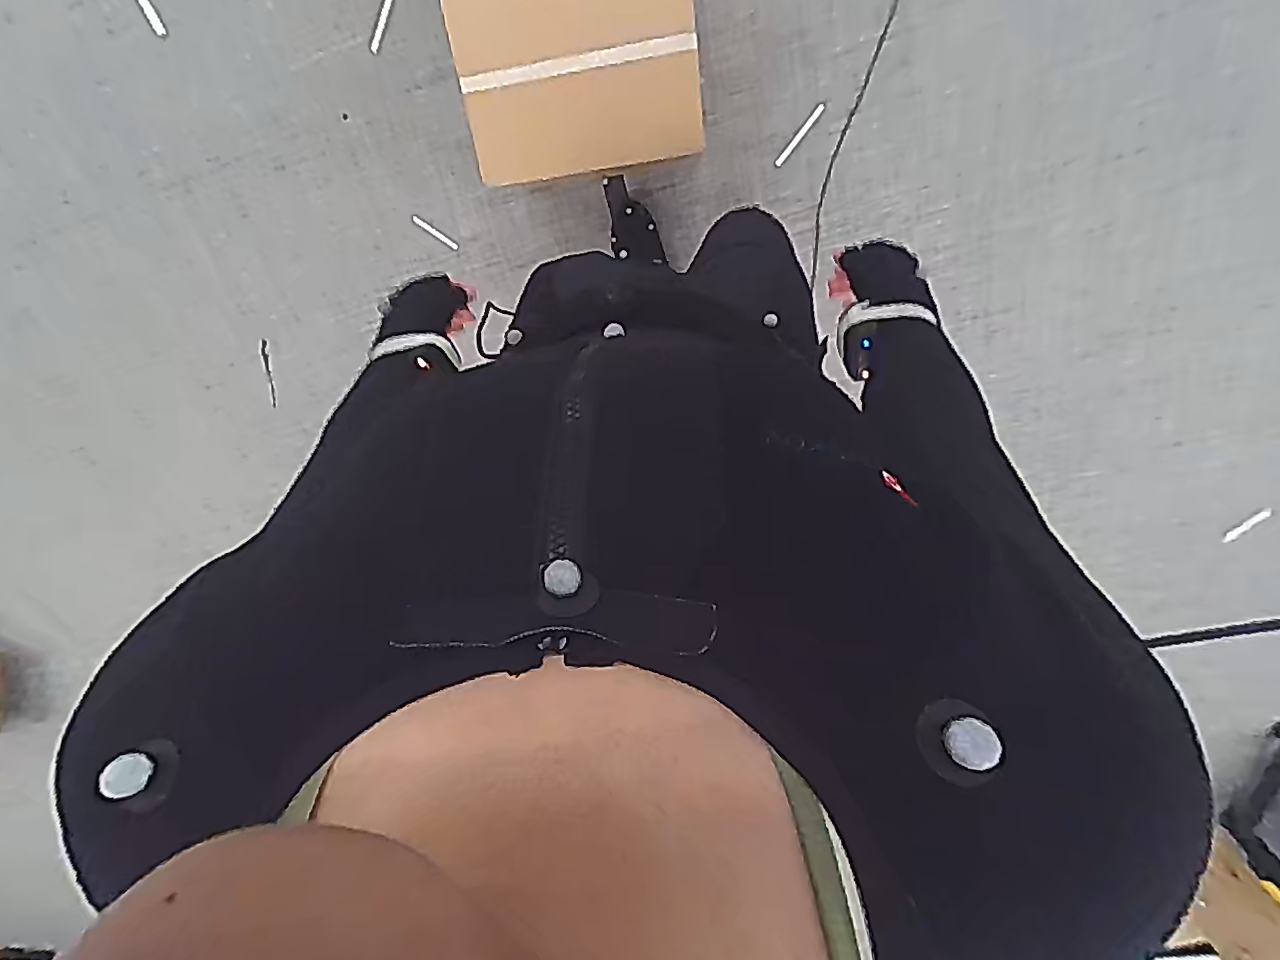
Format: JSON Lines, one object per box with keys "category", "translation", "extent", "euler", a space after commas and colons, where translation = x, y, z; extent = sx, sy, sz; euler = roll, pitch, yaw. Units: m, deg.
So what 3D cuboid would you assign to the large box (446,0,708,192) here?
{"category": "large box", "translation": [-0.092, -0.756, 1.031], "extent": [0.408, 0.320, 0.320], "euler": [-6, 118, 7]}
